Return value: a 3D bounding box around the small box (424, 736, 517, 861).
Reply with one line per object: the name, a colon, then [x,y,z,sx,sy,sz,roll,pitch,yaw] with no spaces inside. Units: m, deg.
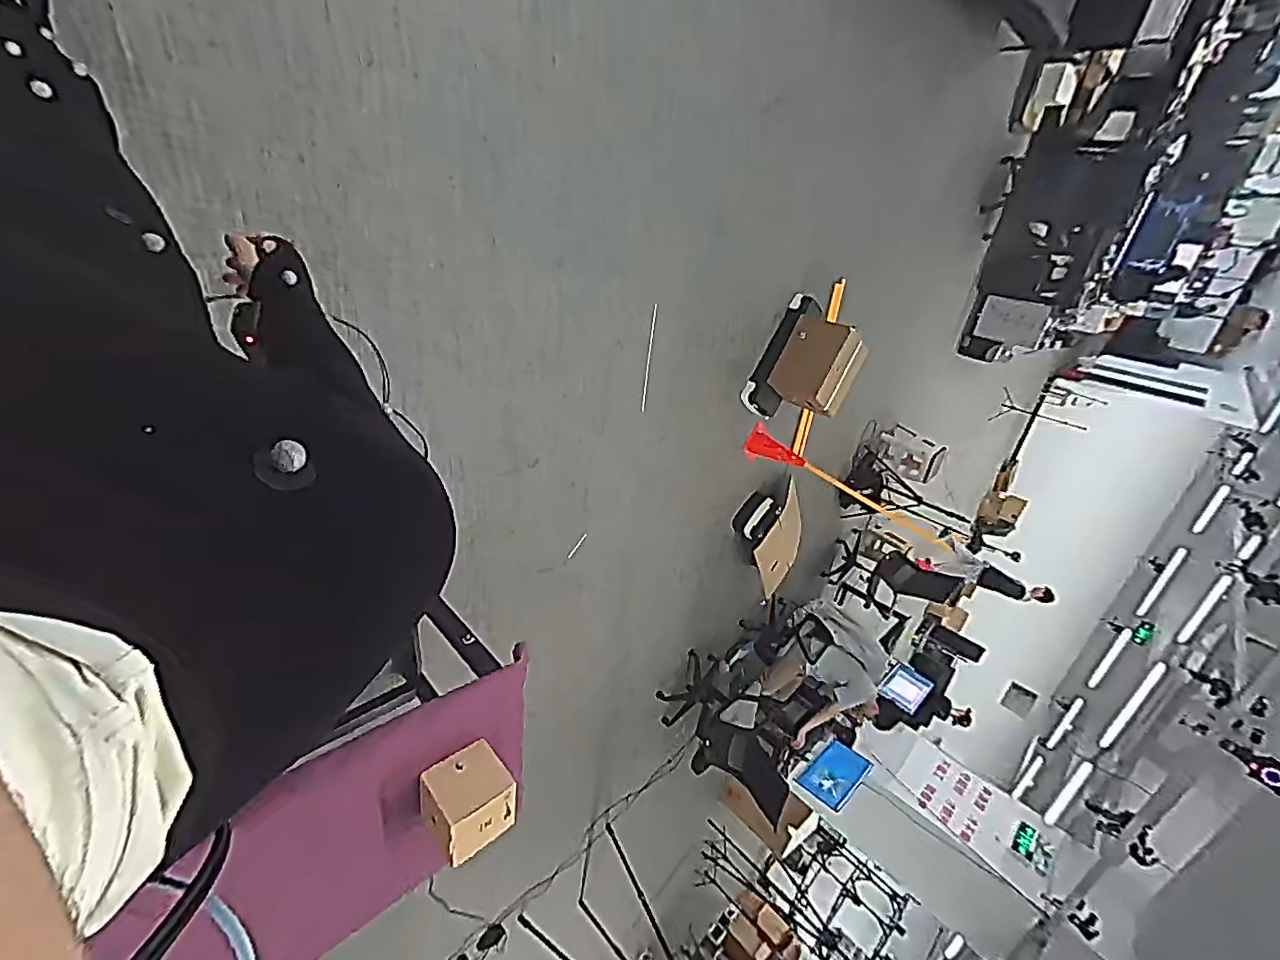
small box: [-0.436,0.800,1.375,0.179,0.176,0.168,-16,126,-42]
